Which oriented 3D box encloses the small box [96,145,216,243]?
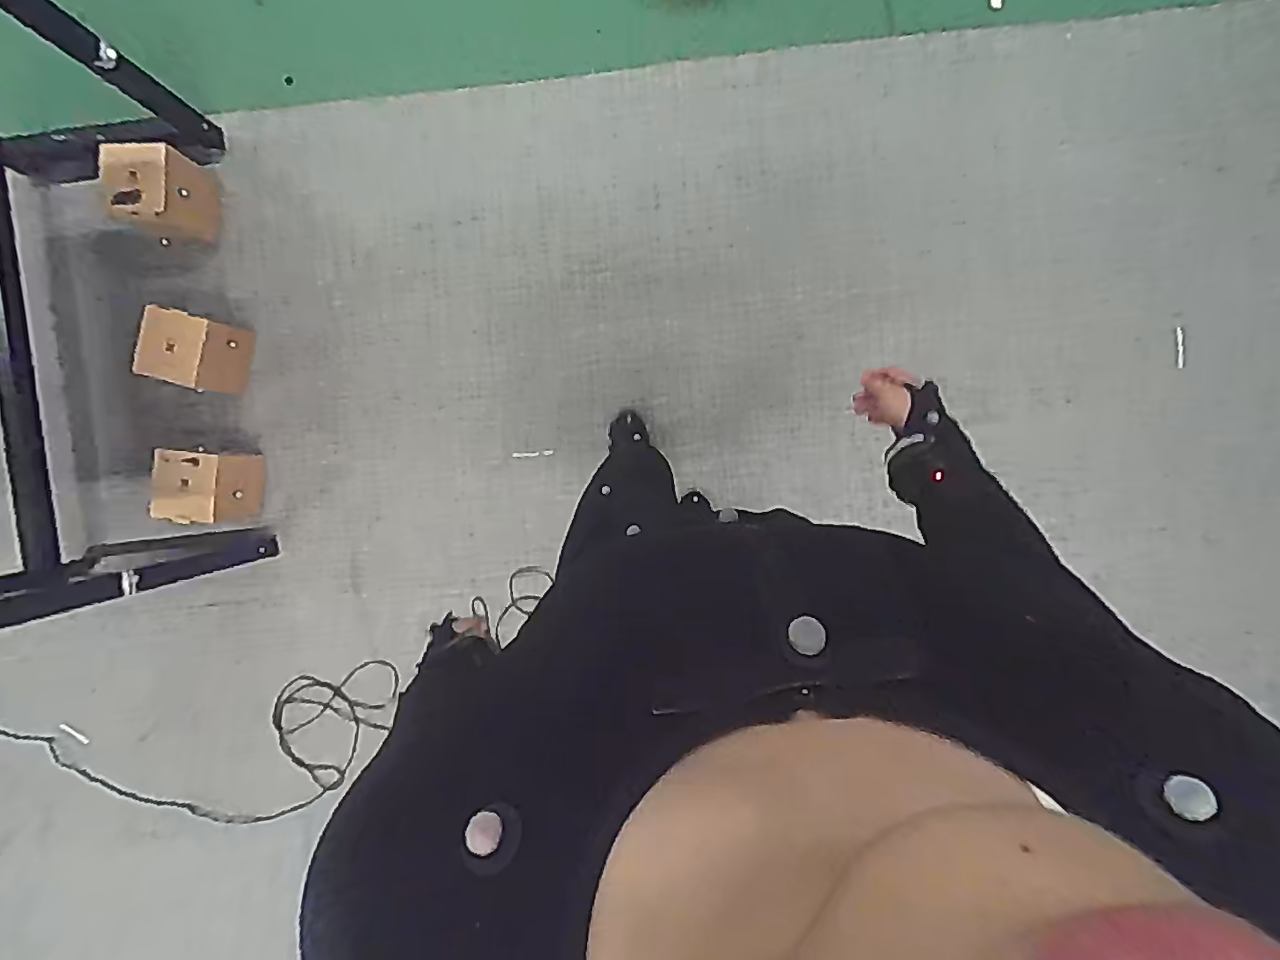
[{"bbox_3d":[-1.227,-0.722,1.383,0.168,0.176,0.179,0,91,1],"label":"small box"}]

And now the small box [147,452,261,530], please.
[{"bbox_3d":[-1.129,0.023,1.411,0.168,0.176,0.179,6,93,0],"label":"small box"}]

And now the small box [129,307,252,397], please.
[{"bbox_3d":[-1.149,-0.323,1.398,0.168,0.176,0.179,14,94,1],"label":"small box"}]
